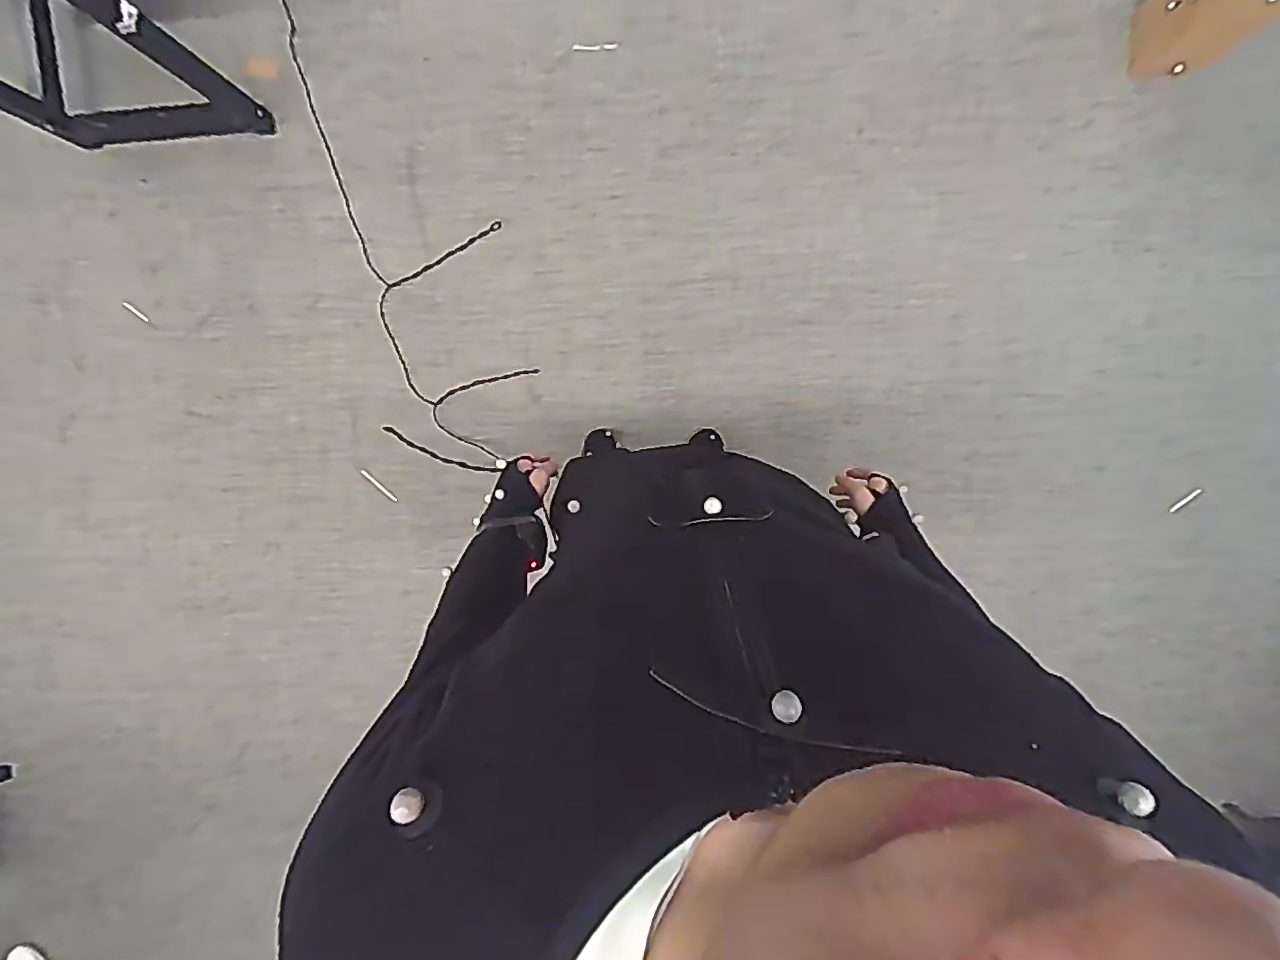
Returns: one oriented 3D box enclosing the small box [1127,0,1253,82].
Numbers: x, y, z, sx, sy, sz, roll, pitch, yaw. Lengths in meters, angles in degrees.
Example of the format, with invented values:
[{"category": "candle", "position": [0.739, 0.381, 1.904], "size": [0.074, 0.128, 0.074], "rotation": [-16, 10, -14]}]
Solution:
[{"category": "small box", "position": [1.393, -1.156, 1.372], "size": [0.168, 0.176, 0.179], "rotation": [0, 96, 3]}]
